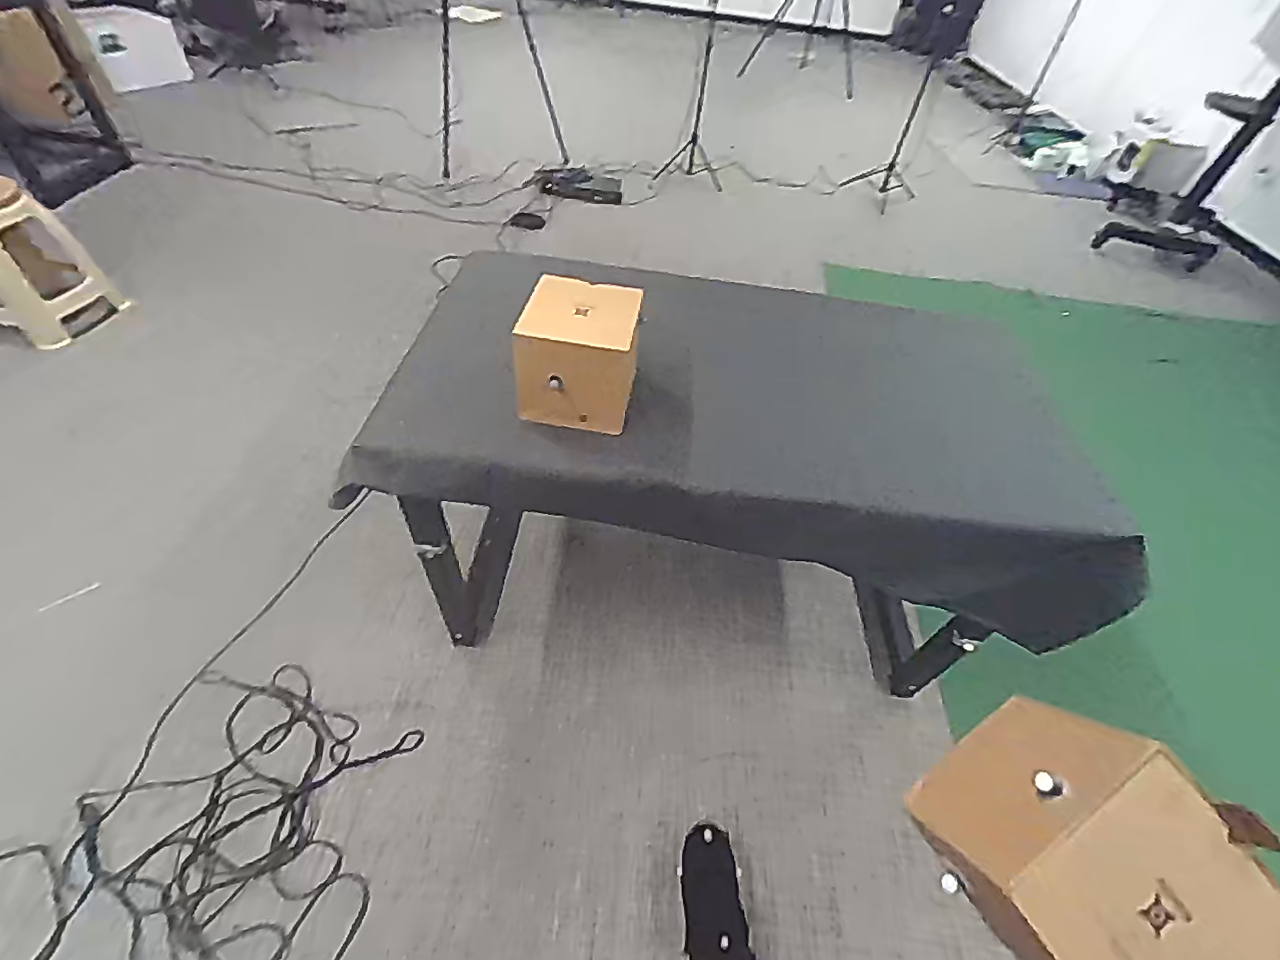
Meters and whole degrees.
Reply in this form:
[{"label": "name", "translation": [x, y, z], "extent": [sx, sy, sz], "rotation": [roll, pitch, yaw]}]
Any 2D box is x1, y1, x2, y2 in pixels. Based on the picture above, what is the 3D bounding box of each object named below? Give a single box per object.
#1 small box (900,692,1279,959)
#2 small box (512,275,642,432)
[{"label": "small box", "translation": [0.377, 0.319, 0.479], "extent": [0.179, 0.176, 0.168], "rotation": [-36, 84, -7]}, {"label": "small box", "translation": [-0.094, -0.198, 0.861], "extent": [0.168, 0.176, 0.179], "rotation": [9, 47, 1]}]
